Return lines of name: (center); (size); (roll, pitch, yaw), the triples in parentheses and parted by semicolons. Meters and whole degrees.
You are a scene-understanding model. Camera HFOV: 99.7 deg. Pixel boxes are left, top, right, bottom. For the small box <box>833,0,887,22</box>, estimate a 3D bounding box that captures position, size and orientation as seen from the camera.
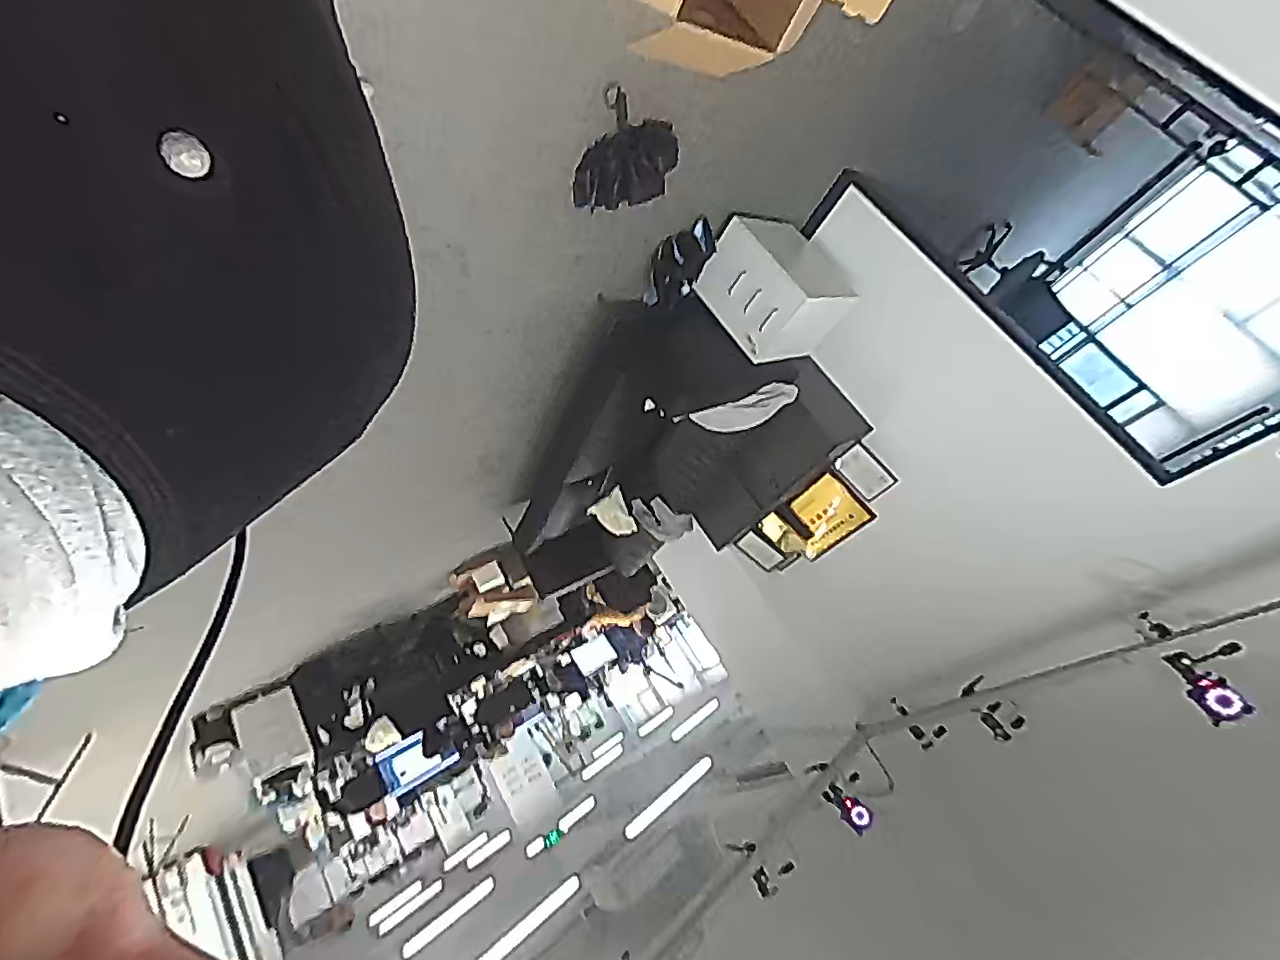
small box: (0.336, -0.887, 0.852); (0.168, 0.176, 0.179); (-18, 156, -39)
